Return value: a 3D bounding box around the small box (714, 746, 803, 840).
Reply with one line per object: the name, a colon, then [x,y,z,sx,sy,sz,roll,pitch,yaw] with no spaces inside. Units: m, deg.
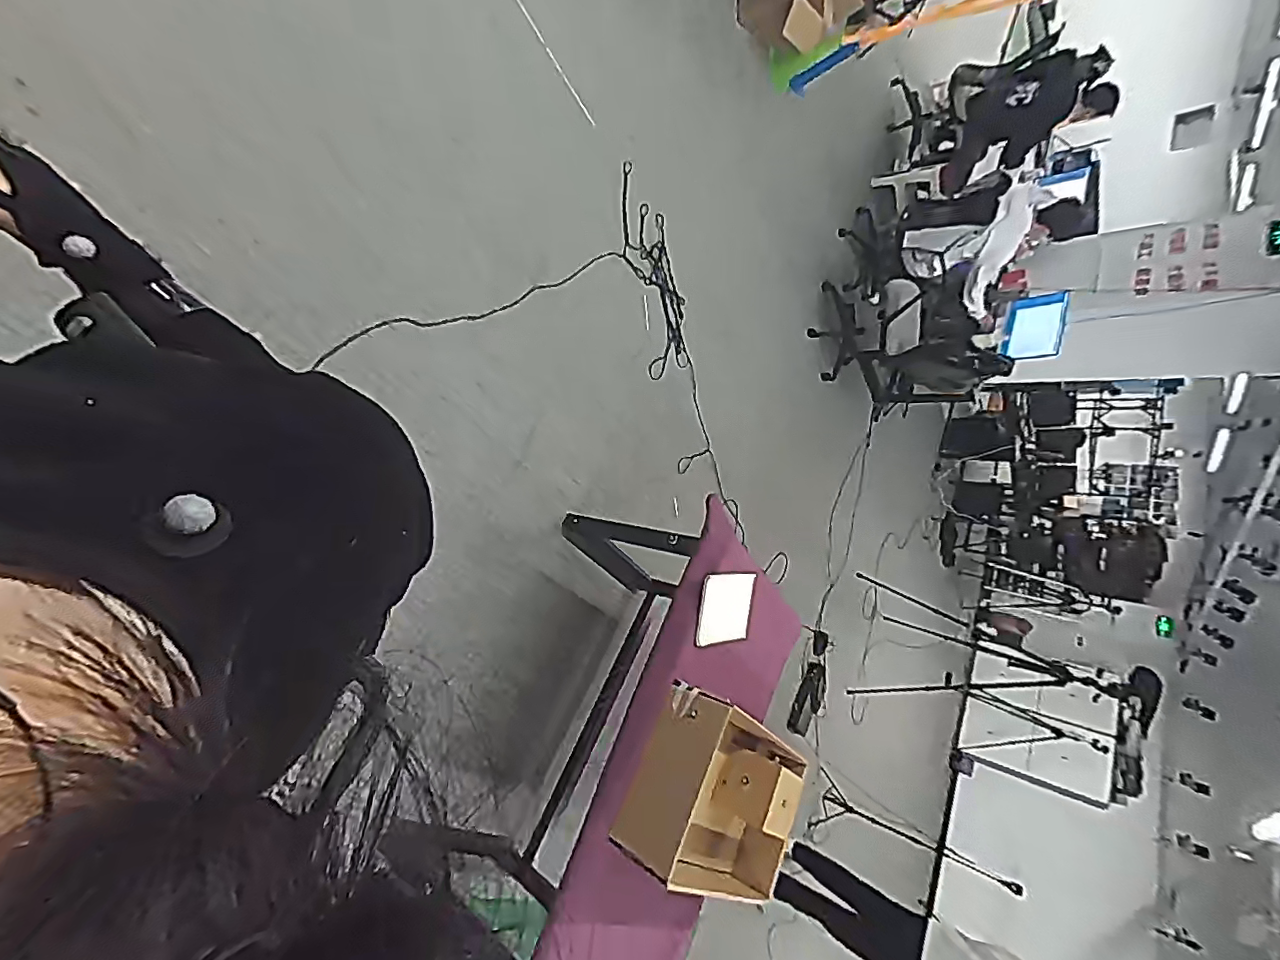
small box: [0.334,0.880,1.532,0.179,0.176,0.168,48,60,-39]
